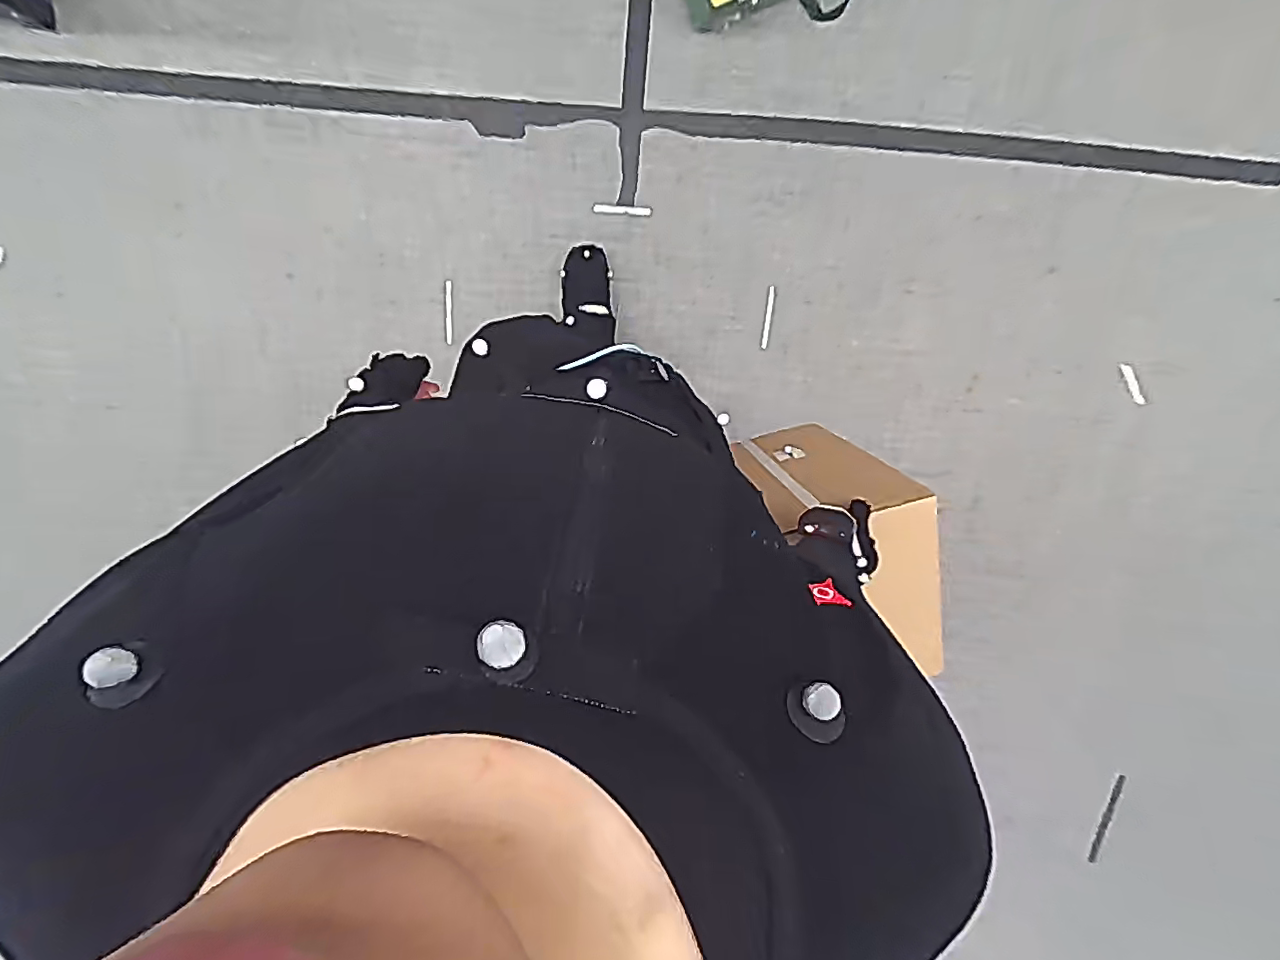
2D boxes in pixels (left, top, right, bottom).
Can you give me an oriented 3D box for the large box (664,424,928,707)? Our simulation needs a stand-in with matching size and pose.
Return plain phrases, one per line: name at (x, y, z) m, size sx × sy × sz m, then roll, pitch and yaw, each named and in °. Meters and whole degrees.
large box at (0.256, 0.124, 0.986) m, size 0.320 × 0.408 × 0.320 m, roll -14°, pitch 111°, yaw -2°
